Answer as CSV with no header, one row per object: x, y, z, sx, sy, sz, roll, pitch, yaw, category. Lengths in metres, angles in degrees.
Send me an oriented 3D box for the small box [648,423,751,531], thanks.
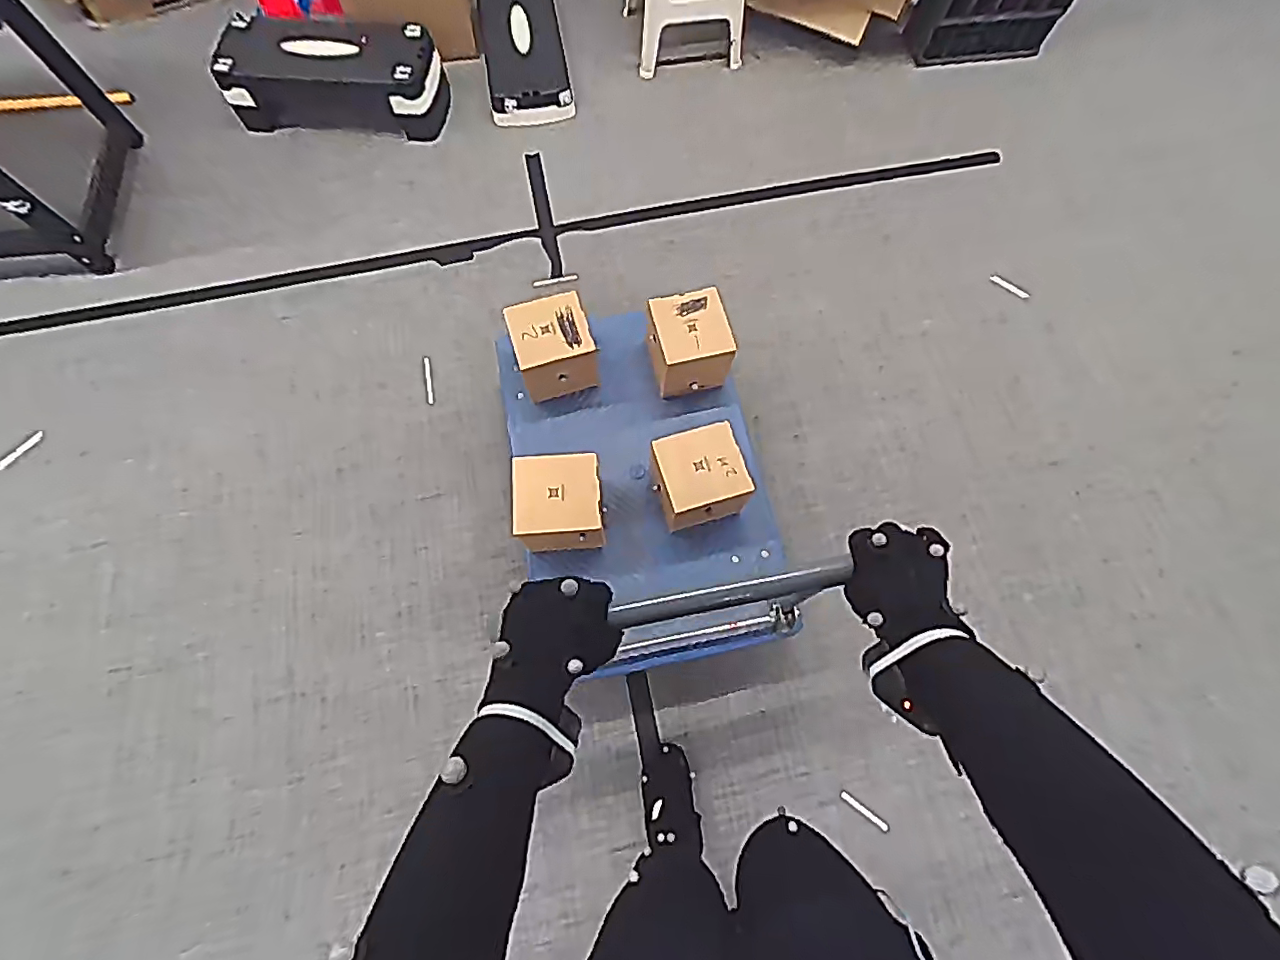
0.121,0.001,1.184,0.179,0.176,0.168,-16,73,-7,small box

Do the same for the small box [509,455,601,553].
-0.177,0.057,1.158,0.179,0.176,0.168,-4,71,-4,small box

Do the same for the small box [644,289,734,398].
0.108,-0.321,1.293,0.168,0.176,0.179,-13,73,-6,small box
